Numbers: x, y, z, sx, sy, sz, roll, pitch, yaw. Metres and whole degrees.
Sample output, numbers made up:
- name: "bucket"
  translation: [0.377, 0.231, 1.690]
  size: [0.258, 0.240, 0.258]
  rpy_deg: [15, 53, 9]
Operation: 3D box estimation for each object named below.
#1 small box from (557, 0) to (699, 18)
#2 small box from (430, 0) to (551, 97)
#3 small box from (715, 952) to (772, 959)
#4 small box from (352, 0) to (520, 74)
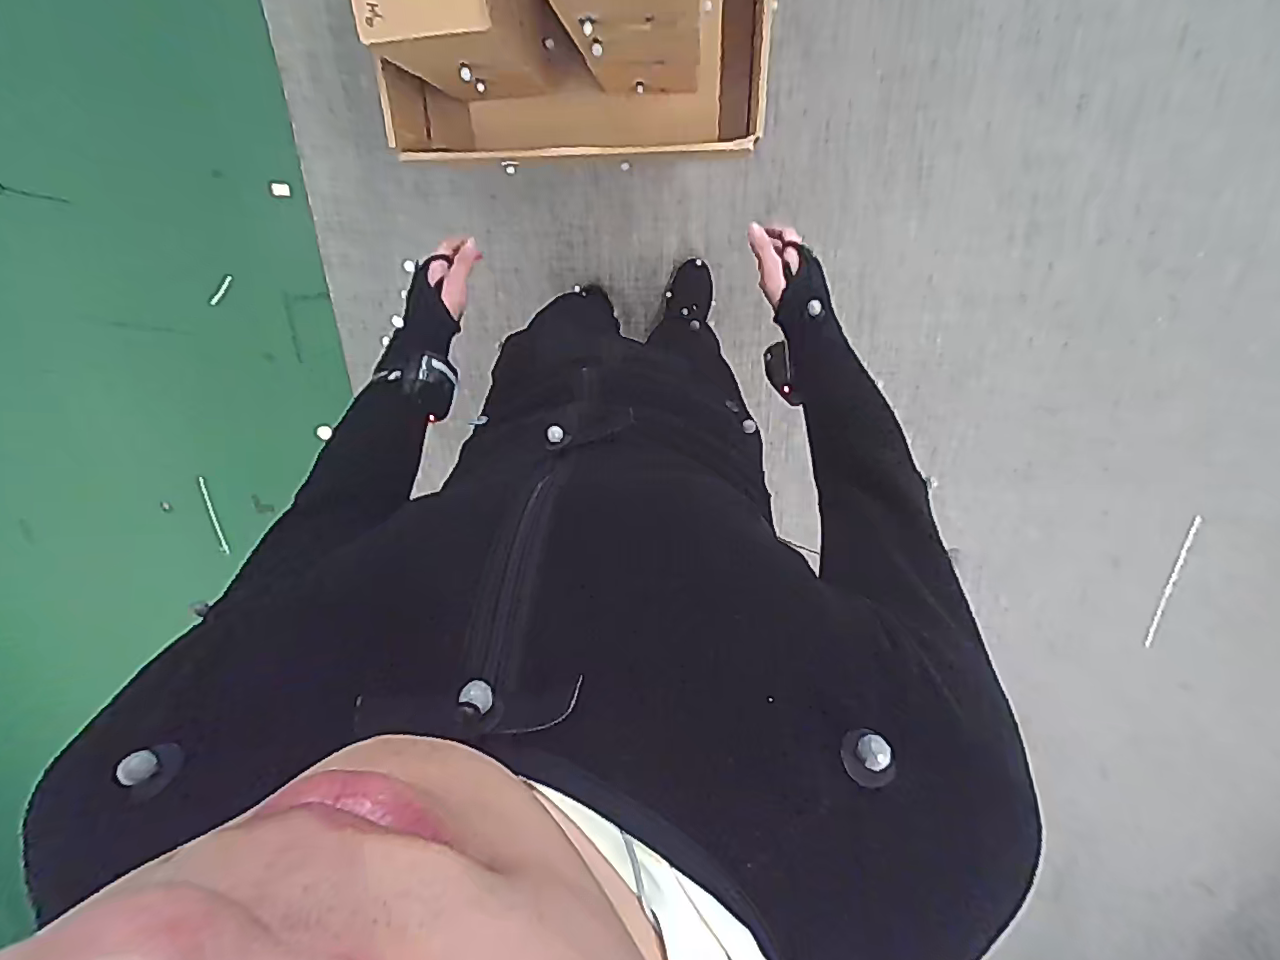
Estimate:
- name: "small box"
  translation: [-0.019, -0.594, 0.537]
  size: [0.168, 0.176, 0.179]
  rpy_deg: [1, 113, 5]
- name: "small box"
  translation: [-0.252, -0.729, 0.862]
  size: [0.179, 0.176, 0.168]
  rpy_deg: [0, 114, 4]
- name: "small box"
  translation: [0.276, 1.359, 1.382]
  size: [0.168, 0.176, 0.179]
  rpy_deg: [-2, 113, 7]
- name: "small box"
  translation: [-0.266, -0.662, 0.713]
  size: [0.179, 0.176, 0.168]
  rpy_deg: [-1, 114, 6]
